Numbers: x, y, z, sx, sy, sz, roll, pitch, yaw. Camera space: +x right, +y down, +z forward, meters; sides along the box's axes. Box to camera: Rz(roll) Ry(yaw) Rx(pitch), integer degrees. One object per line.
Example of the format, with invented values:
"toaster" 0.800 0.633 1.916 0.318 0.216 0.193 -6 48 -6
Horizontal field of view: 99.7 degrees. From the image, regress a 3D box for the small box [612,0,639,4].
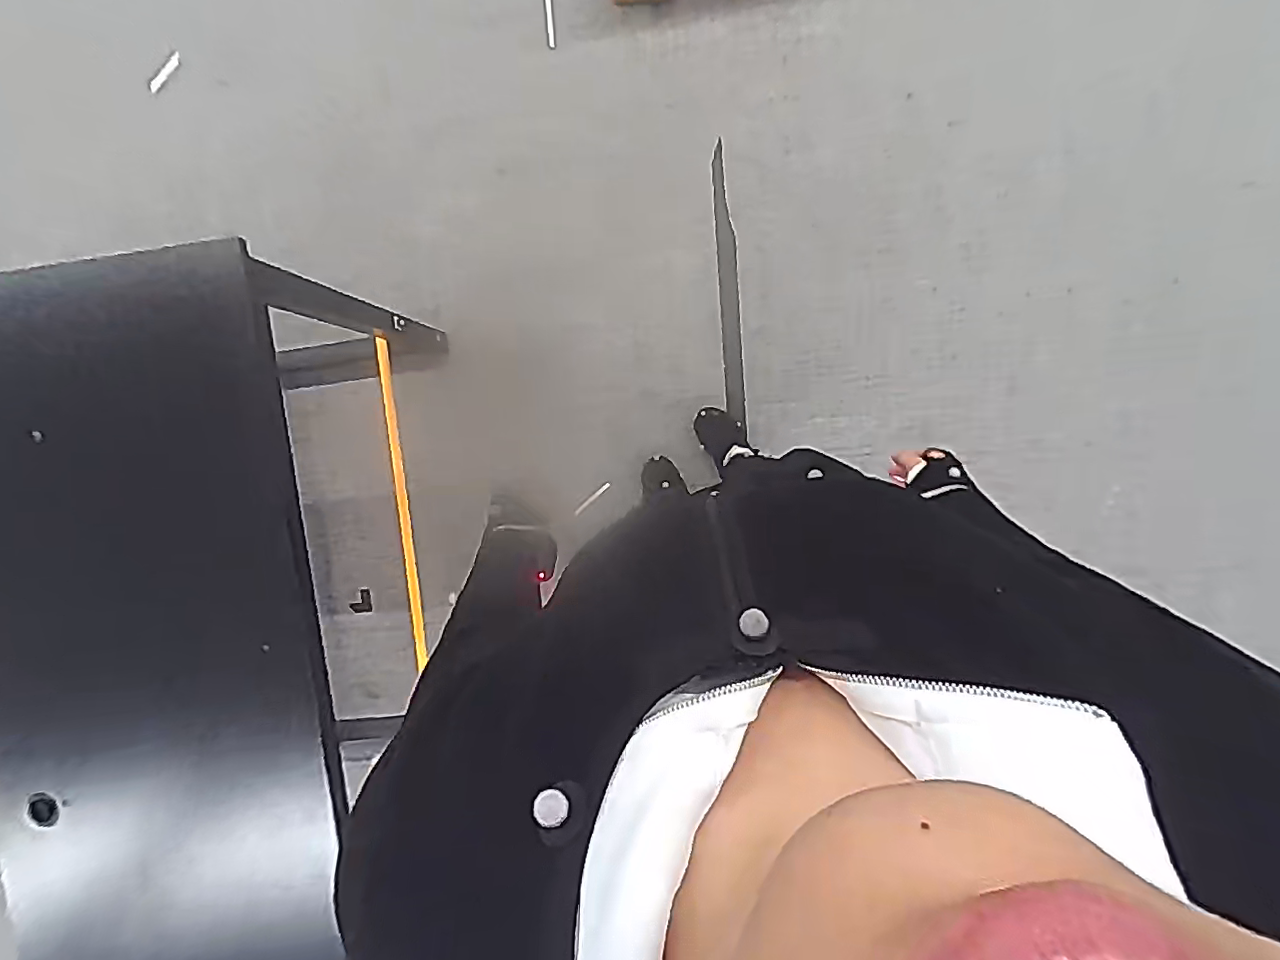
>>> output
"small box" 0.002 -1.292 1.288 0.179 0.176 0.168 -4 95 5
